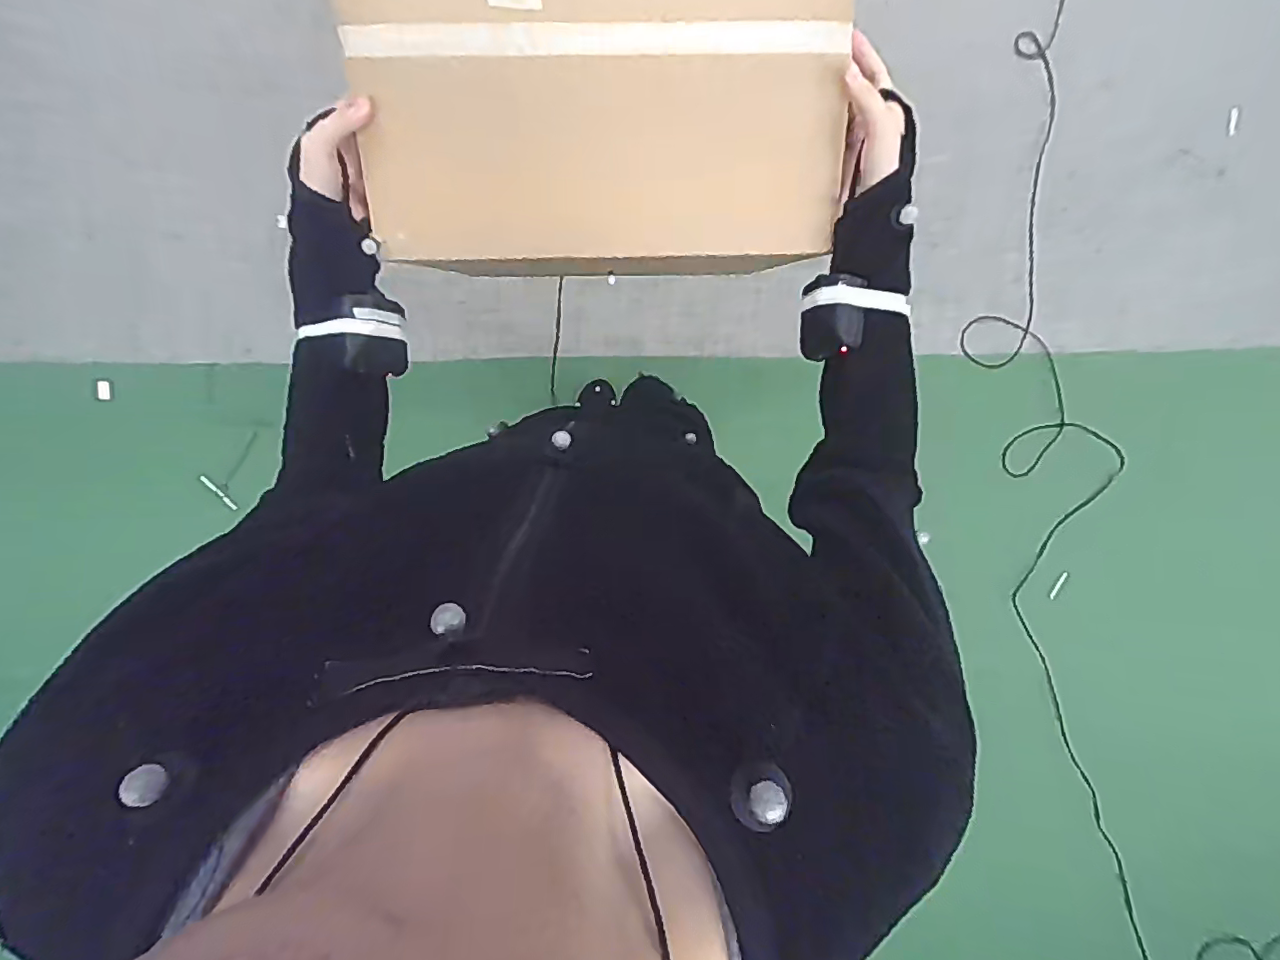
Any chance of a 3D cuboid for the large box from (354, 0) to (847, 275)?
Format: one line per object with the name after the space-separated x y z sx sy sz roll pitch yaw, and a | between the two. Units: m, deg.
-0.032 -0.397 0.586 0.408 0.320 0.320 -2 107 -1 | large box
